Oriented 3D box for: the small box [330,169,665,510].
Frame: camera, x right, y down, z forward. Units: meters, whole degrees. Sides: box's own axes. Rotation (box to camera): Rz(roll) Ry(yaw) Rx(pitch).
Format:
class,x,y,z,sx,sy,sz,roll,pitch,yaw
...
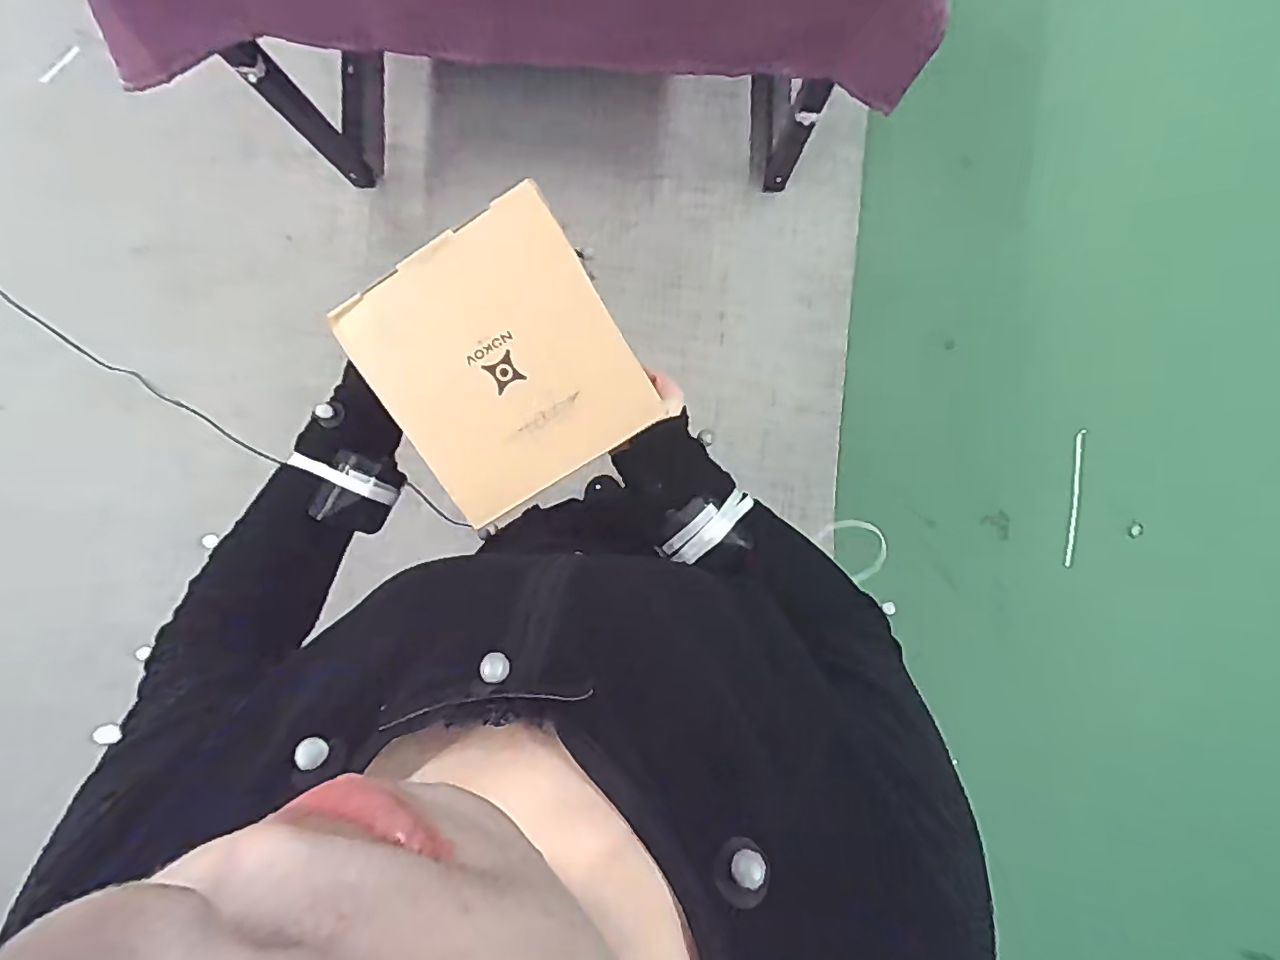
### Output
class,x,y,z,sx,sy,sz,roll,pitch,yaw
small box,-0.097,-0.106,0.444,0.168,0.176,0.179,-31,103,6
